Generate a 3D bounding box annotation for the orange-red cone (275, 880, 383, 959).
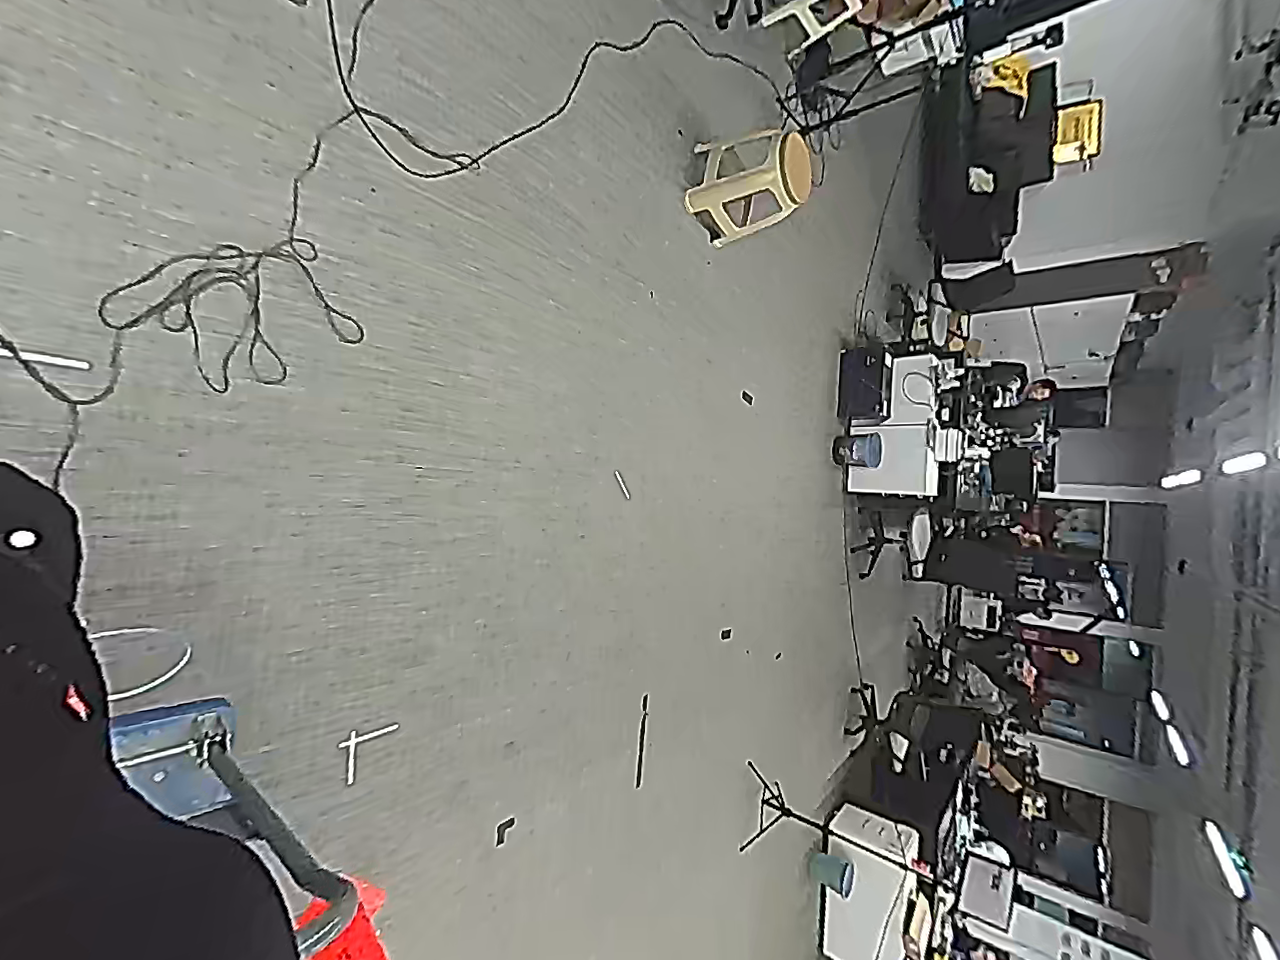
[{"bbox_3d":[-0.639,1.140,1.241,0.199,0.360,0.198,-53,129,-34],"label":"orange-red cone"}]
